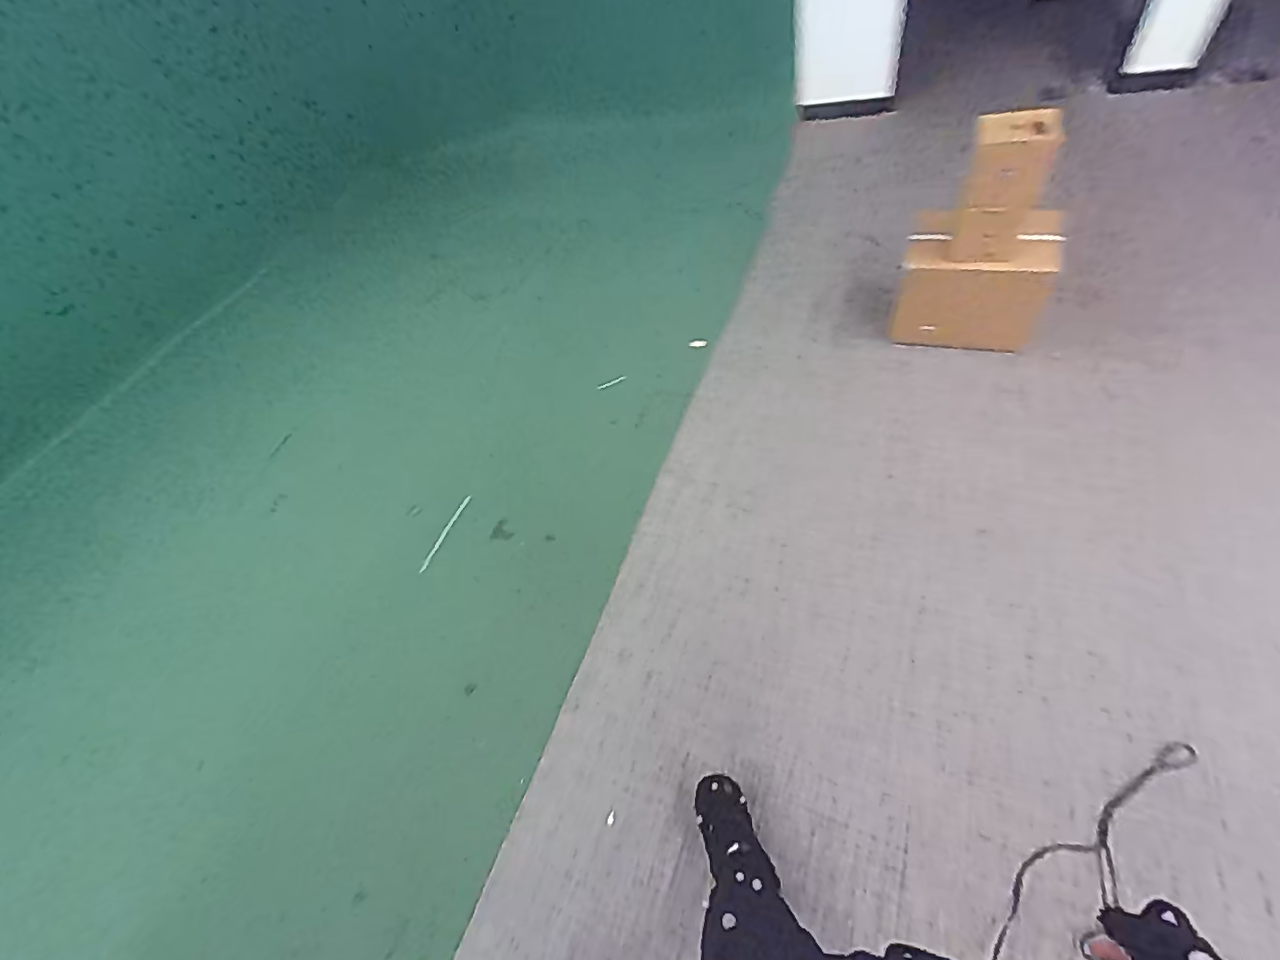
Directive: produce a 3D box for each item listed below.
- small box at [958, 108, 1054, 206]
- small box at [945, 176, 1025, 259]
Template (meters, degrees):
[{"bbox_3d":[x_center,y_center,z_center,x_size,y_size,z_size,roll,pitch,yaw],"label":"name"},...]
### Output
[{"bbox_3d":[0.977,-0.860,1.450,0.179,0.176,0.168,10,59,23],"label":"small box"},{"bbox_3d":[1.006,-0.769,1.585,0.168,0.176,0.179,8,59,20],"label":"small box"}]
